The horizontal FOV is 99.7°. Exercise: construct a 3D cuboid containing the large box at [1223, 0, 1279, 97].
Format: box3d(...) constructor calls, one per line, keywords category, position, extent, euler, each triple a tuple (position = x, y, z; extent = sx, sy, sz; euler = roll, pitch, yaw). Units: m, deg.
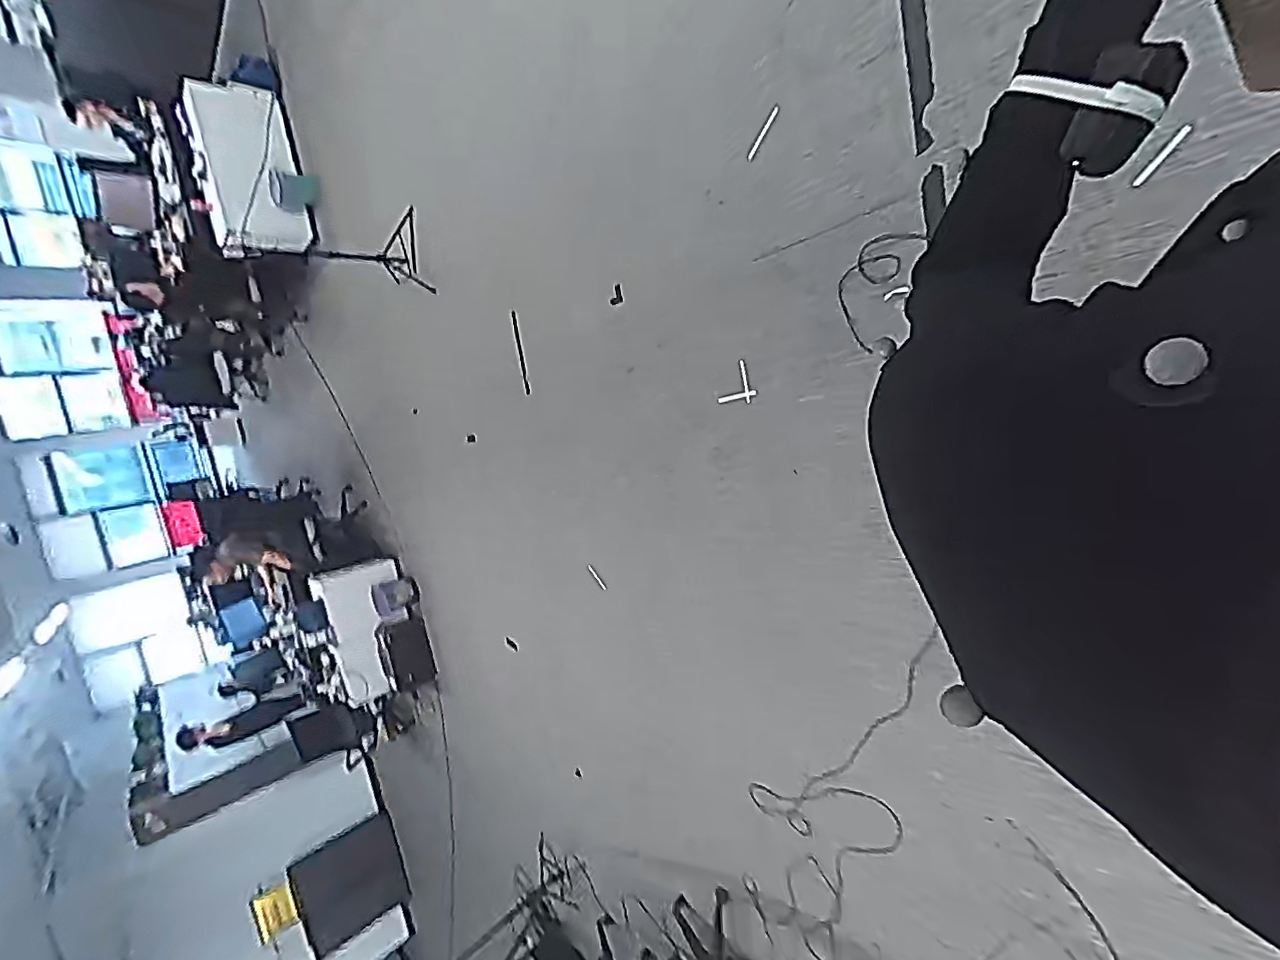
box3d(category="large box", position=(0.568, -0.357, 0.196), extent=(0.408, 0.320, 0.320), euler=(32, 129, 38))
